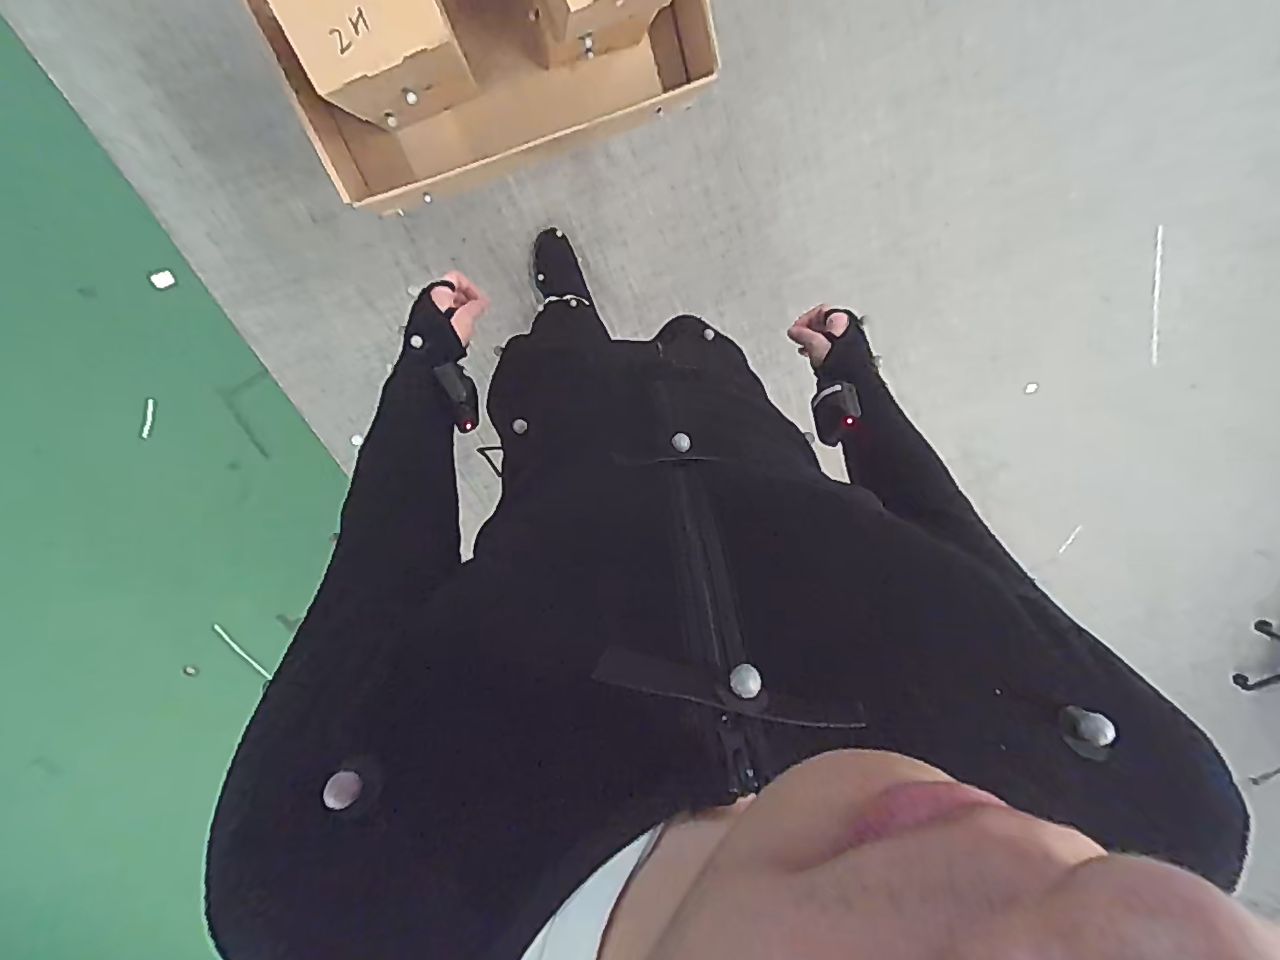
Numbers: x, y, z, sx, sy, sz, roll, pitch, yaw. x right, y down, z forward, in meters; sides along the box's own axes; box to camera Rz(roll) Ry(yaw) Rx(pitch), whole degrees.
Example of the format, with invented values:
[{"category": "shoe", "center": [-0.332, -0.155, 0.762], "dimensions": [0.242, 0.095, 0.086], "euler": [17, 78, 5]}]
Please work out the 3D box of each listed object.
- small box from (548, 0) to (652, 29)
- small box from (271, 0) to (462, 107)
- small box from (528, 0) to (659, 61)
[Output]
[{"category": "small box", "center": [-0.049, -0.675, 0.638], "dimensions": [0.168, 0.176, 0.179], "euler": [-23, 118, 0]}, {"category": "small box", "center": [-0.329, -0.576, 0.632], "dimensions": [0.168, 0.176, 0.179], "euler": [-22, 118, 1]}, {"category": "small box", "center": [-0.087, -0.749, 0.781], "dimensions": [0.168, 0.176, 0.179], "euler": [-19, 118, -2]}]
